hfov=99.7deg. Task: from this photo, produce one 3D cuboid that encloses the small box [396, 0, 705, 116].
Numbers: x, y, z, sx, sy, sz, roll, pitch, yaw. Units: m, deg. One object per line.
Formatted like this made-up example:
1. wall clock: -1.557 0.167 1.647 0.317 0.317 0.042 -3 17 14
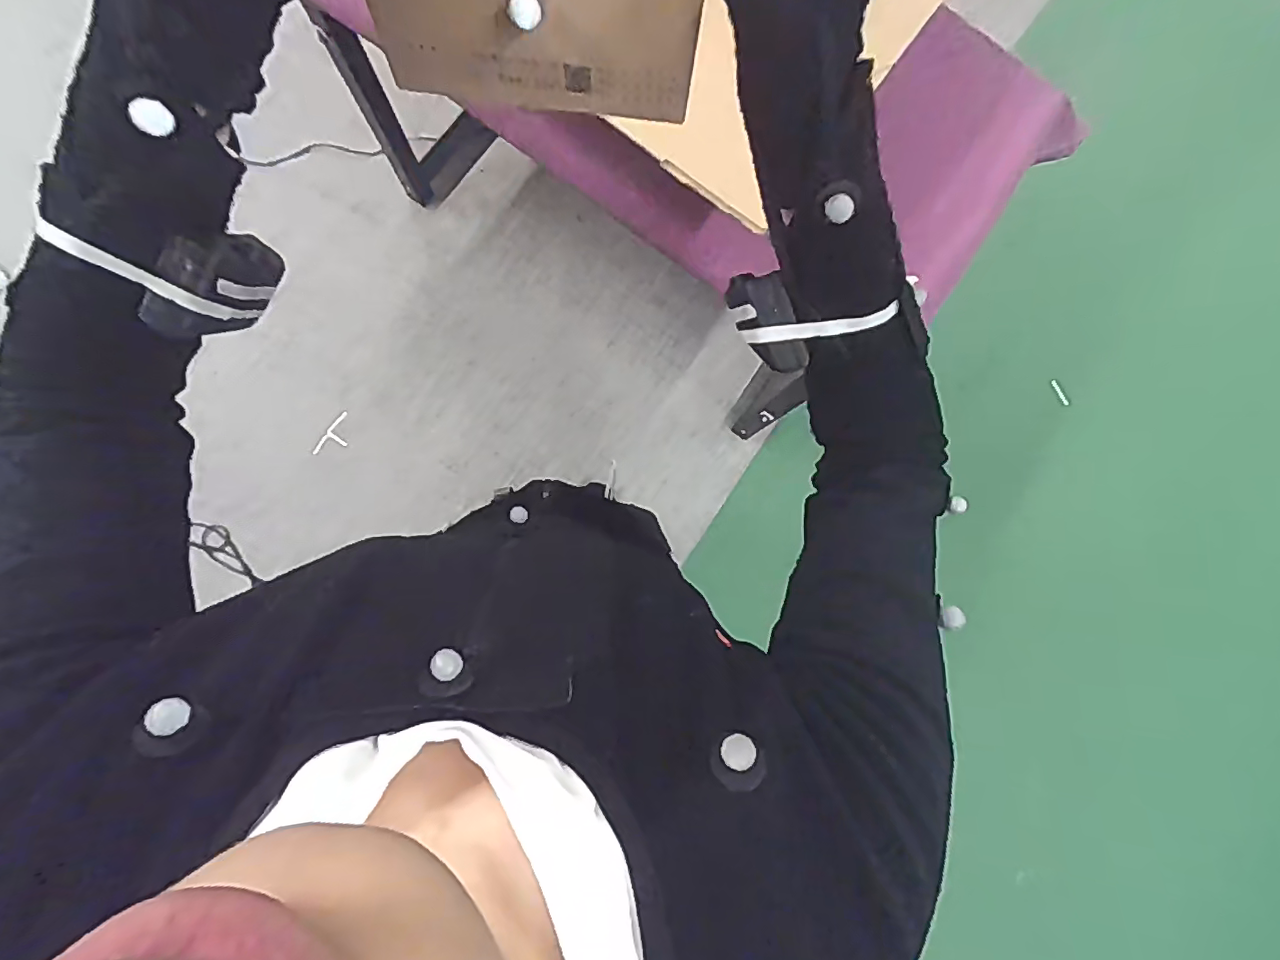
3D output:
1. small box: -0.040 -0.325 0.260 0.168 0.176 0.179 6 72 -2
